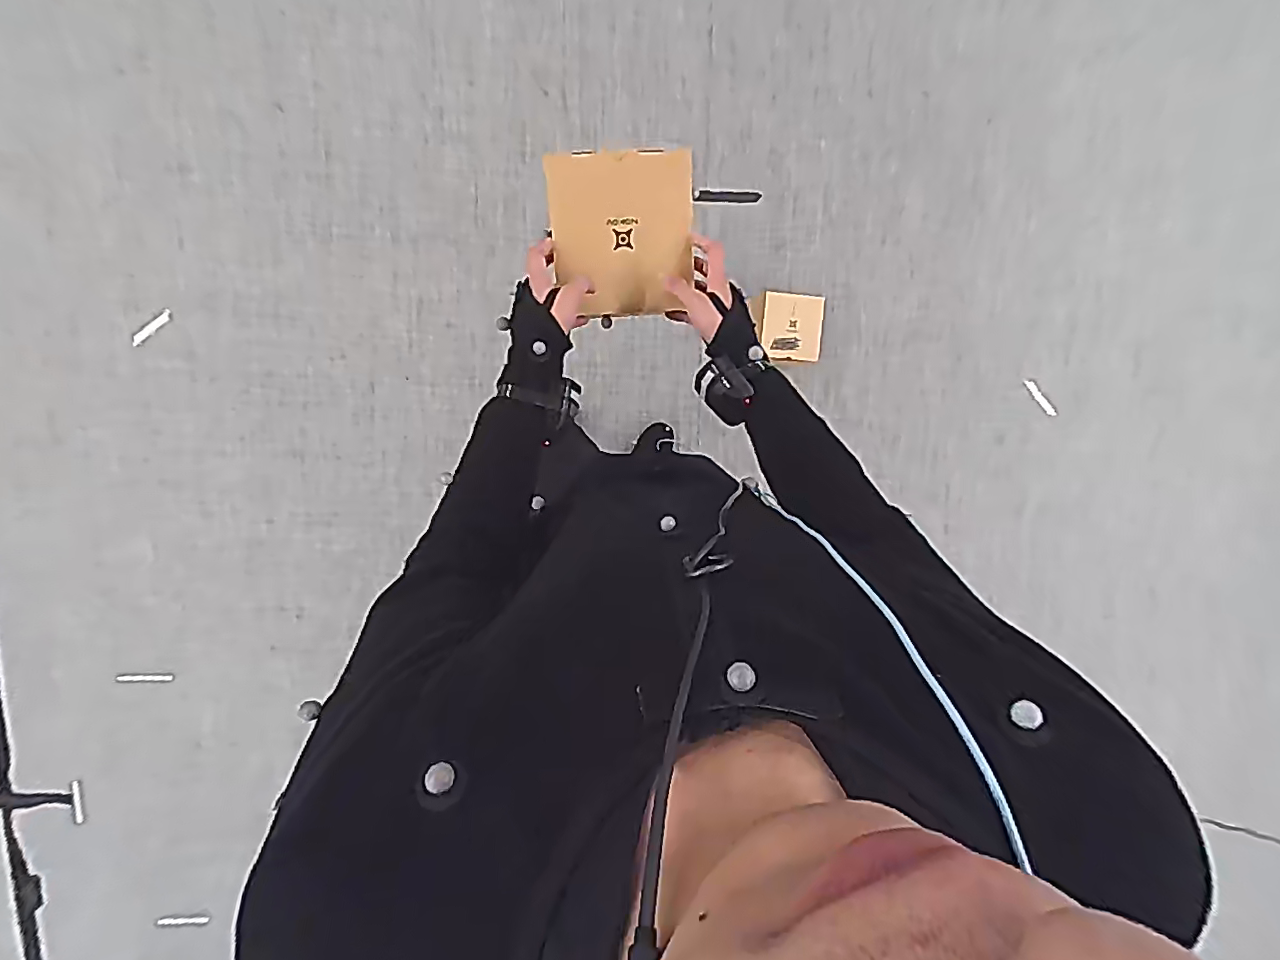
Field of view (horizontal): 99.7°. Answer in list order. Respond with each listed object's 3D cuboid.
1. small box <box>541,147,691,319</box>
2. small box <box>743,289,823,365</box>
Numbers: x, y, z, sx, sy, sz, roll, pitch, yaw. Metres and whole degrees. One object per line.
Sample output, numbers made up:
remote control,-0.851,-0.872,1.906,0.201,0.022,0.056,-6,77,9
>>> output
small box,-0.031,-0.301,0.692,0.168,0.176,0.179,-5,105,-5
small box,0.395,-0.424,1.525,0.168,0.176,0.179,4,96,-6
